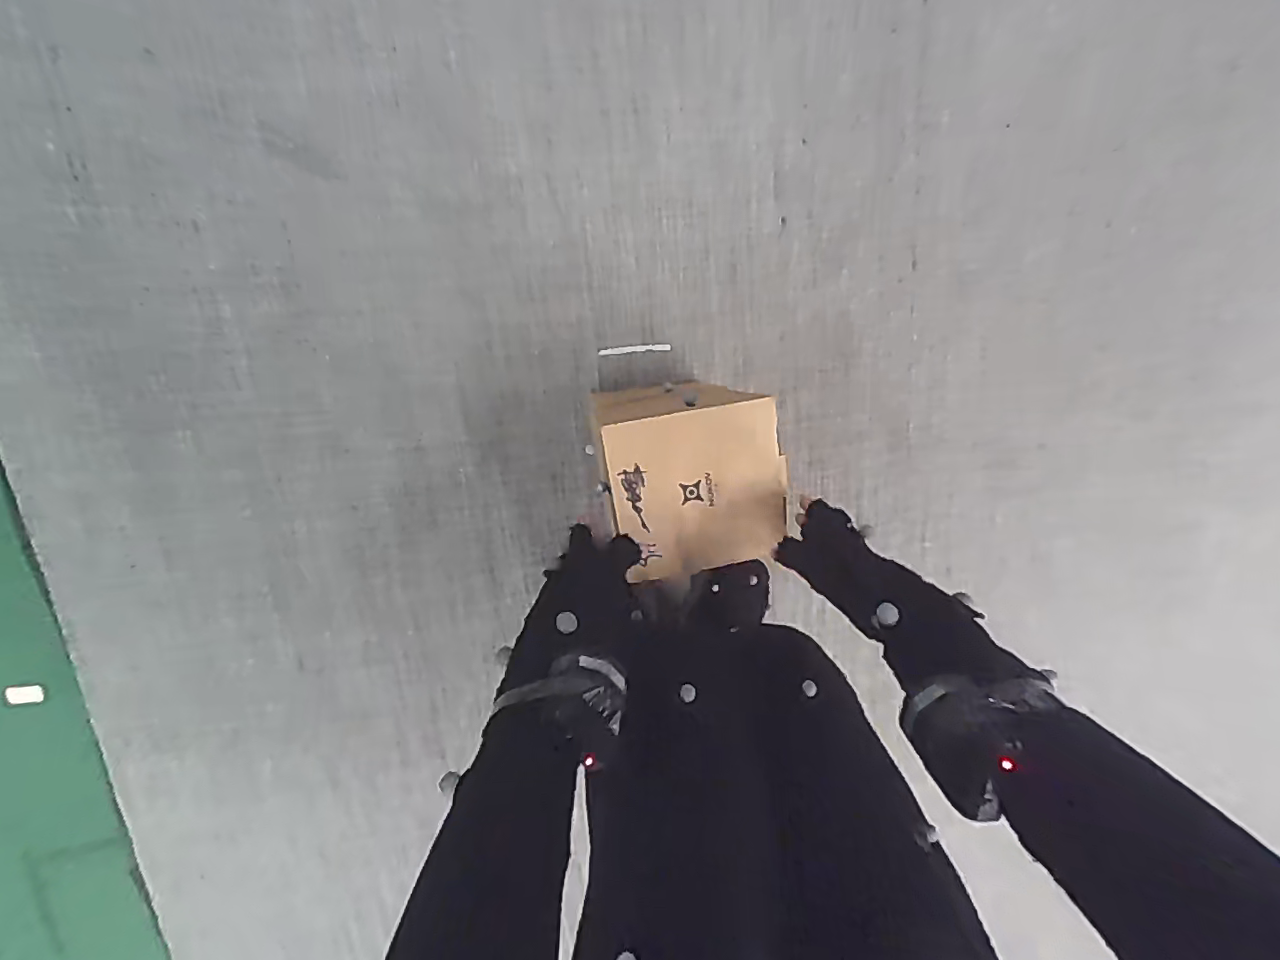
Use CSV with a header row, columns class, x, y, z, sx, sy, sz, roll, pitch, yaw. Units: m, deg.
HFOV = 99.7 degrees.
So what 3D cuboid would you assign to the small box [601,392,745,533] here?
class,x,y,z,sx,sy,sz,roll,pitch,yaw
small box,0.041,-0.034,0.780,0.179,0.176,0.168,-7,102,-5
